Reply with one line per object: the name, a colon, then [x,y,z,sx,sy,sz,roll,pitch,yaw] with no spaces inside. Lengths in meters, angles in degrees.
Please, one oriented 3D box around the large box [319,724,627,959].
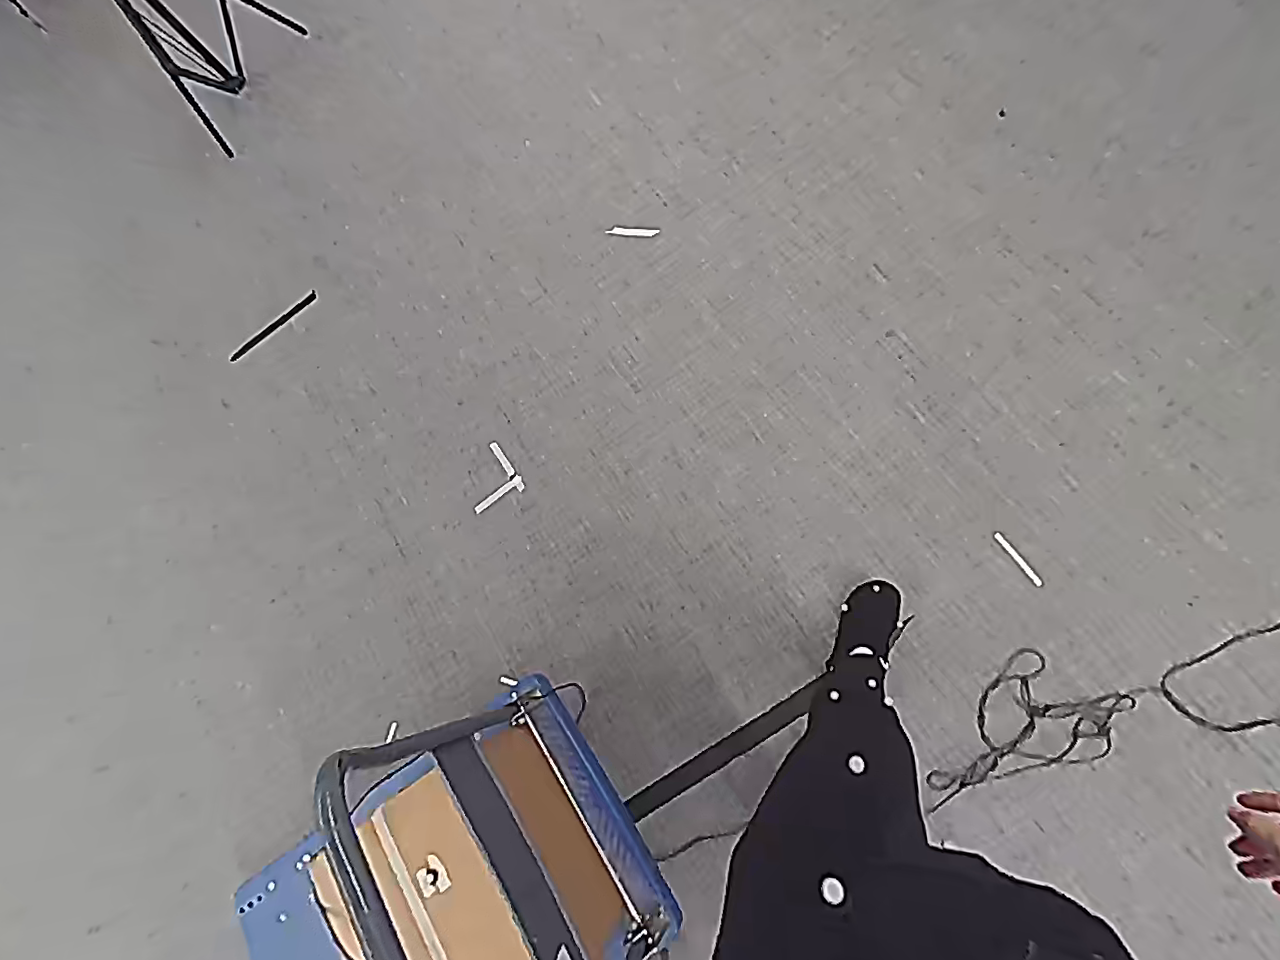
large box: [-0.284,0.741,0.995,0.320,0.320,0.408,-37,71,1]
